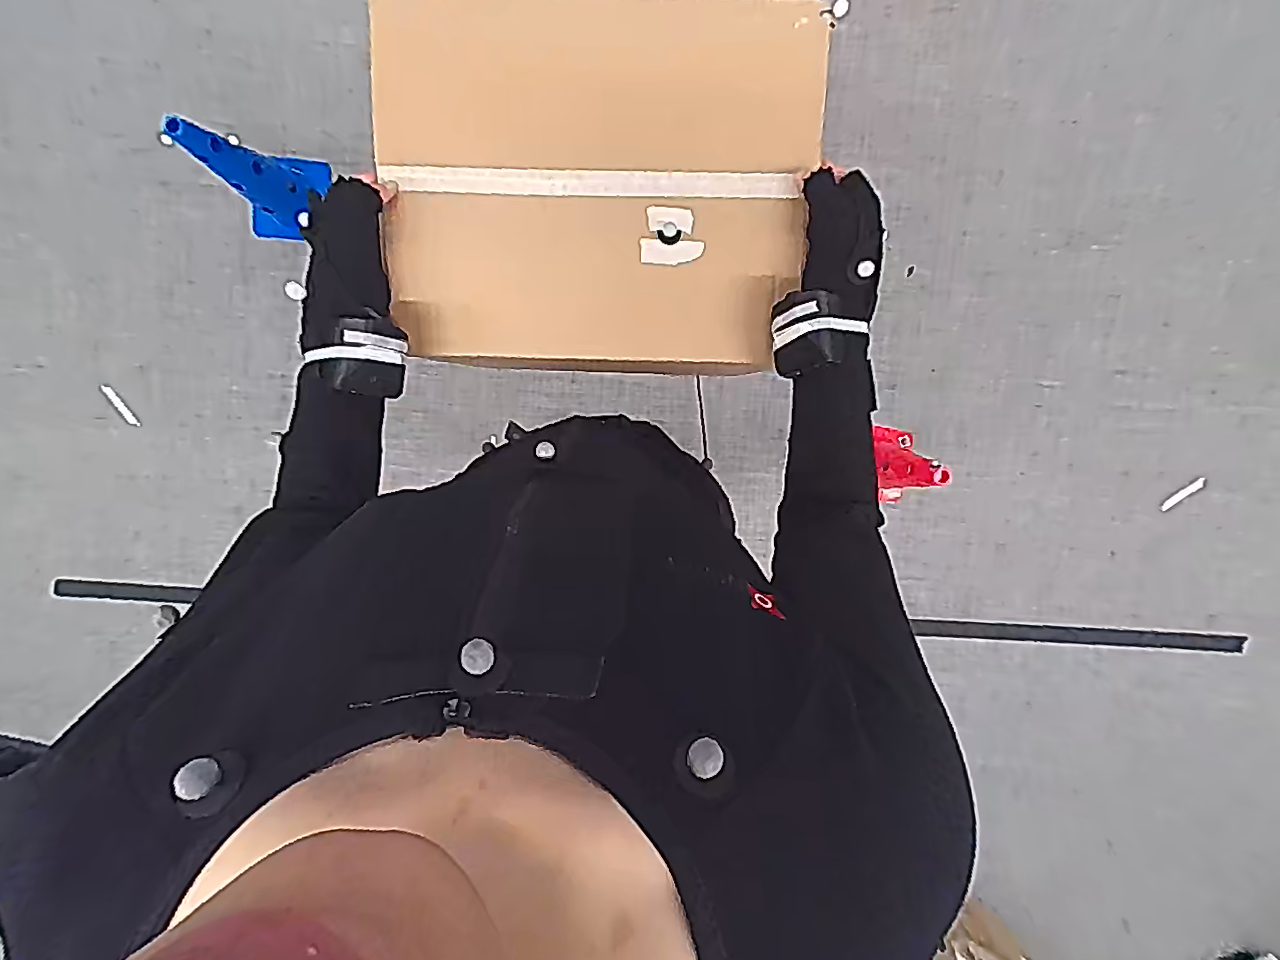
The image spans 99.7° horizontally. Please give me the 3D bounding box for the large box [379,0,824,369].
[{"bbox_3d":[-0.038,-0.298,0.647,0.408,0.320,0.320,1,99,-1],"label":"large box"}]

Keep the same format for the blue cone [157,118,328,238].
[{"bbox_3d":[-0.906,-0.706,1.233,0.192,0.380,0.193,7,97,1],"label":"blue cone"}]
